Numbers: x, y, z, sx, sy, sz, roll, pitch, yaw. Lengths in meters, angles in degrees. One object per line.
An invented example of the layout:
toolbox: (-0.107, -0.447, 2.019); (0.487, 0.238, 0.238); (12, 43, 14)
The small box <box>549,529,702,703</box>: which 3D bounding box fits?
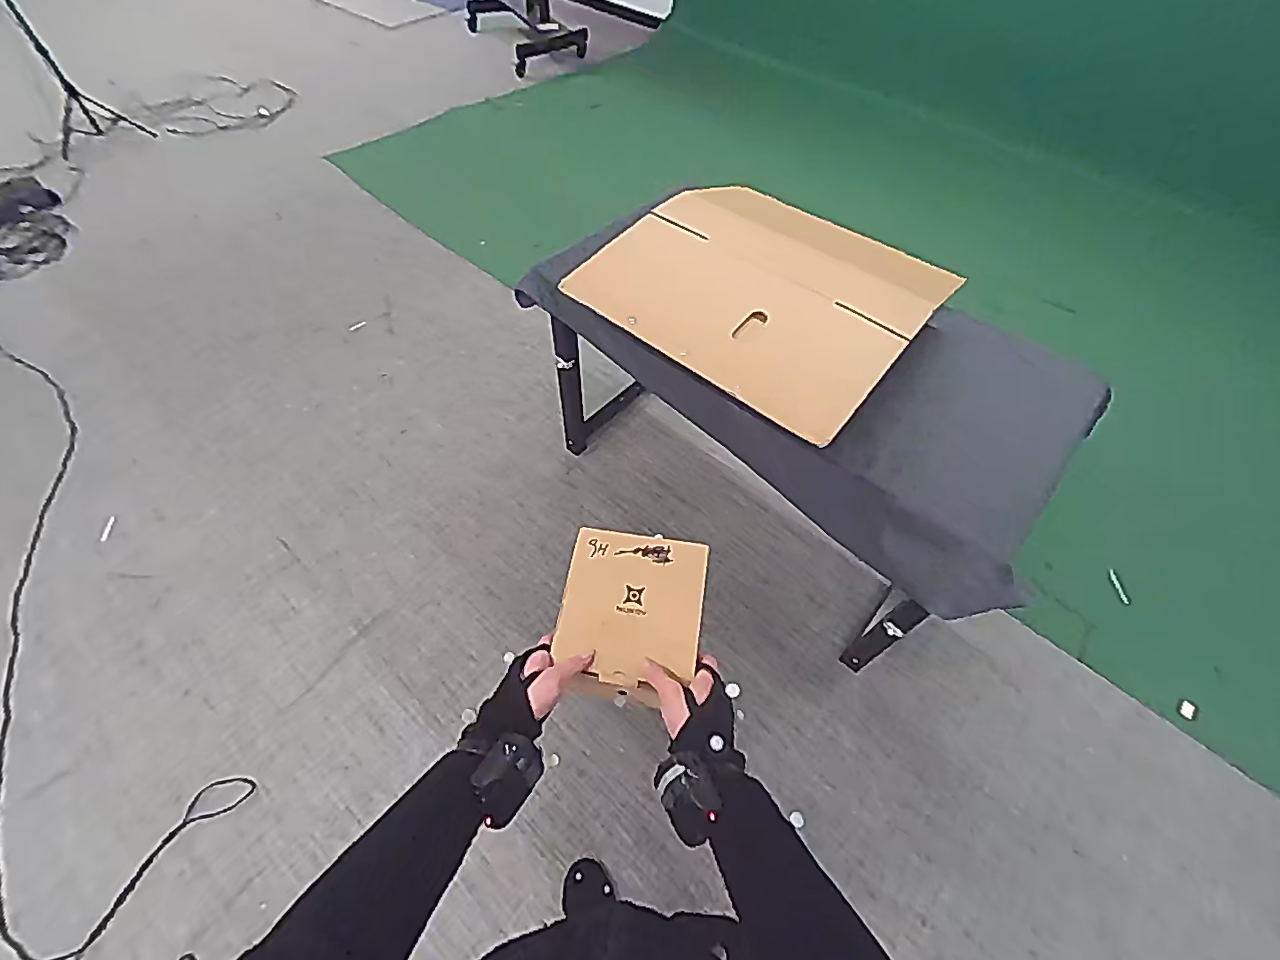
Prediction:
small box: (-0.010, 0.184, 0.711); (0.168, 0.176, 0.179); (5, 60, 5)
